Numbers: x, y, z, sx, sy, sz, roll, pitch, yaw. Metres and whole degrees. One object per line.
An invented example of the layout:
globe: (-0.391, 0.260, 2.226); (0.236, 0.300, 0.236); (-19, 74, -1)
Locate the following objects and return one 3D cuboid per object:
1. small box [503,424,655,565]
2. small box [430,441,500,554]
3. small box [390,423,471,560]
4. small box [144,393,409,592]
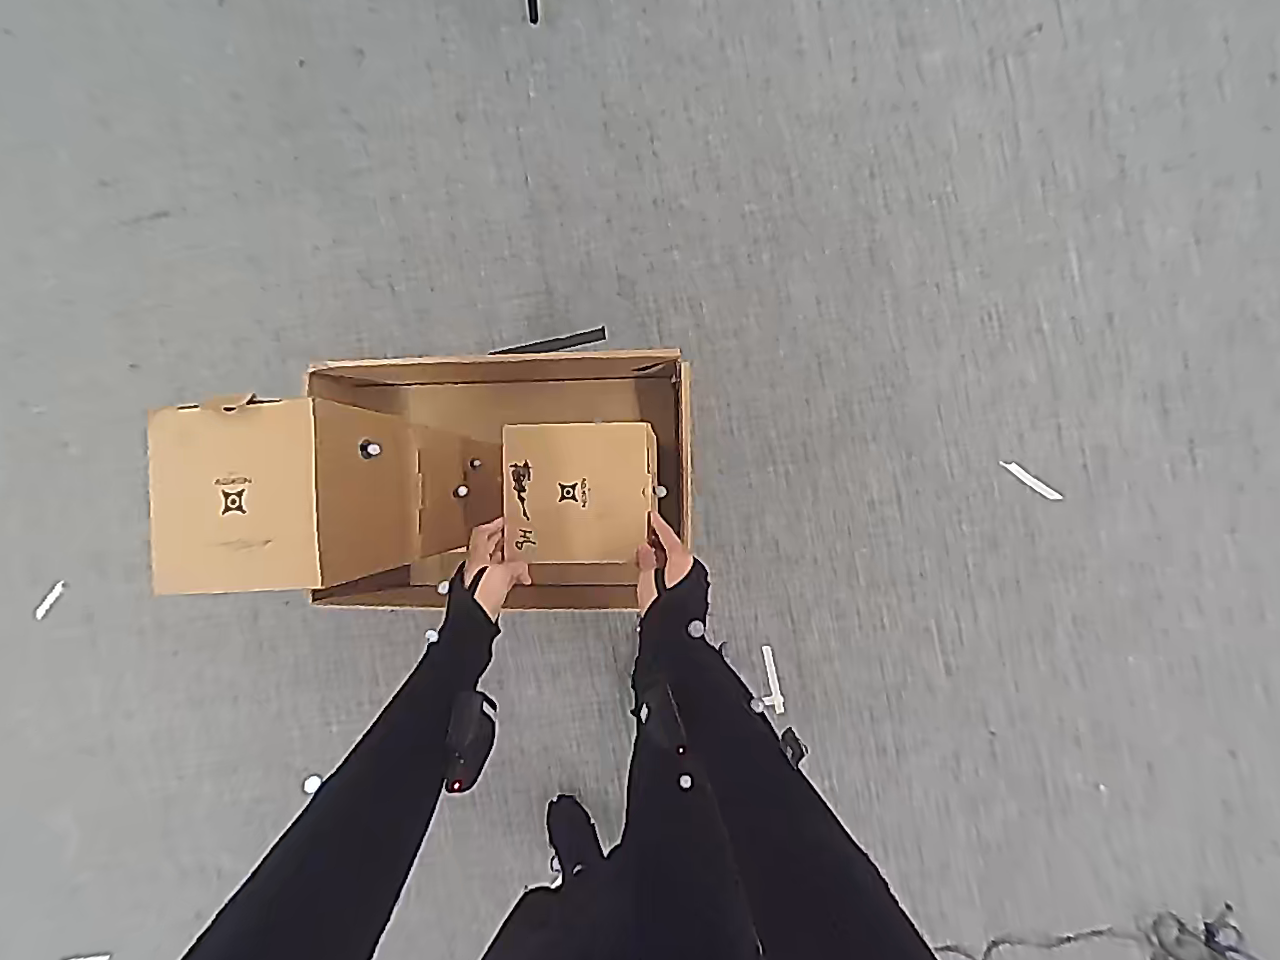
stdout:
small box: (-0.069, 0.016, 0.706); (0.179, 0.176, 0.168); (0, 90, 3)
small box: (-0.337, 0.024, 0.894); (0.168, 0.176, 0.179); (-2, 89, 3)
small box: (-0.345, 0.015, 0.729); (0.179, 0.176, 0.168); (-1, 89, 4)
small box: (-0.361, 0.015, 0.566); (0.168, 0.176, 0.179); (-3, 88, 5)
